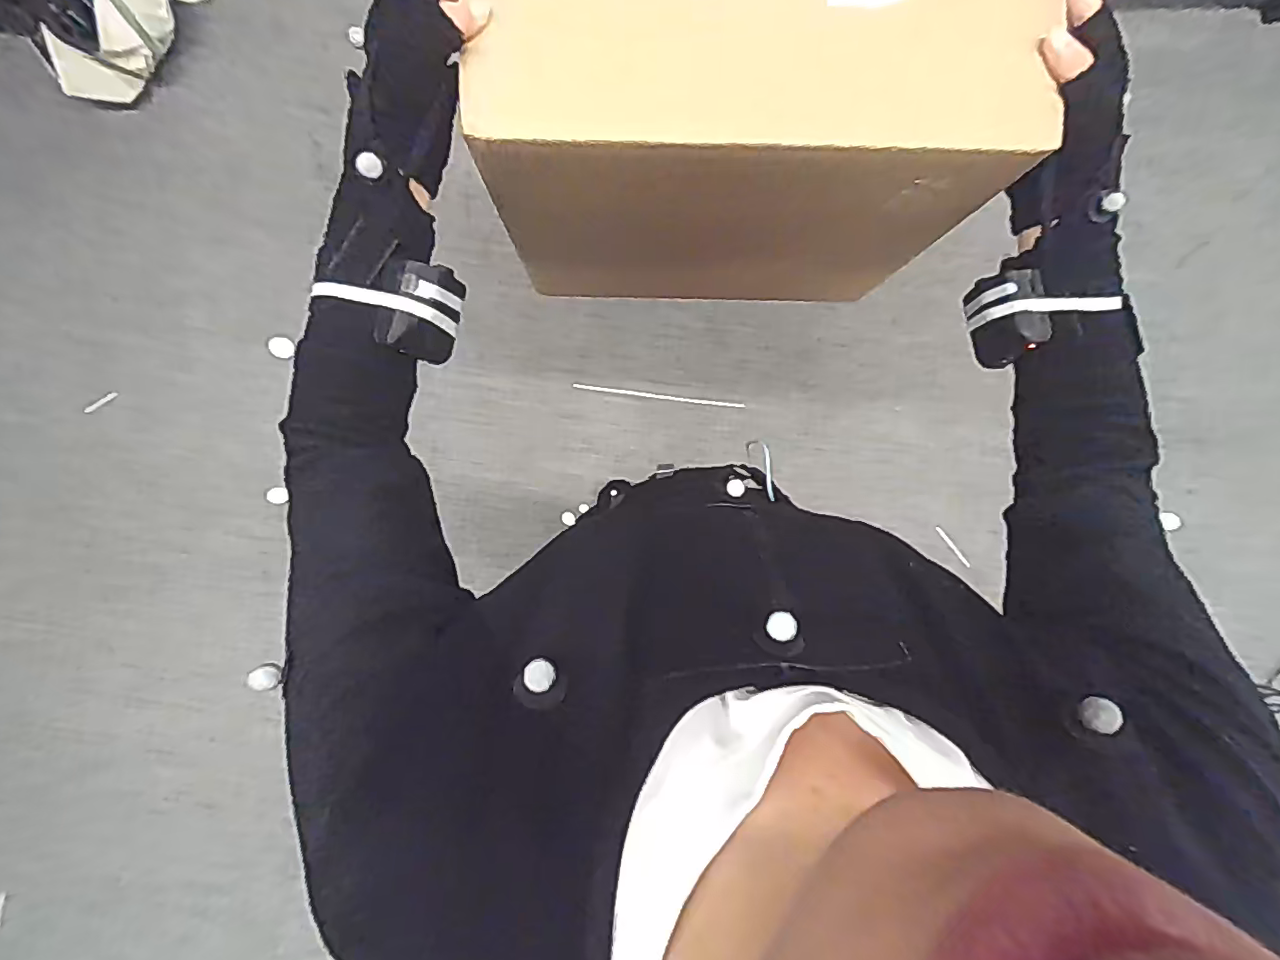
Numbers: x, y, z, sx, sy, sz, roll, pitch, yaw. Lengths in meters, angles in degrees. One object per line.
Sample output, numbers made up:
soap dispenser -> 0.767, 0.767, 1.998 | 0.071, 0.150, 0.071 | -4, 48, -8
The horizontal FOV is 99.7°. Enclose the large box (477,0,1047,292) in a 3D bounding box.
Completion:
large box -> 0.078, -0.387, 0.521 | 0.408, 0.320, 0.320 | 0, 91, -3
